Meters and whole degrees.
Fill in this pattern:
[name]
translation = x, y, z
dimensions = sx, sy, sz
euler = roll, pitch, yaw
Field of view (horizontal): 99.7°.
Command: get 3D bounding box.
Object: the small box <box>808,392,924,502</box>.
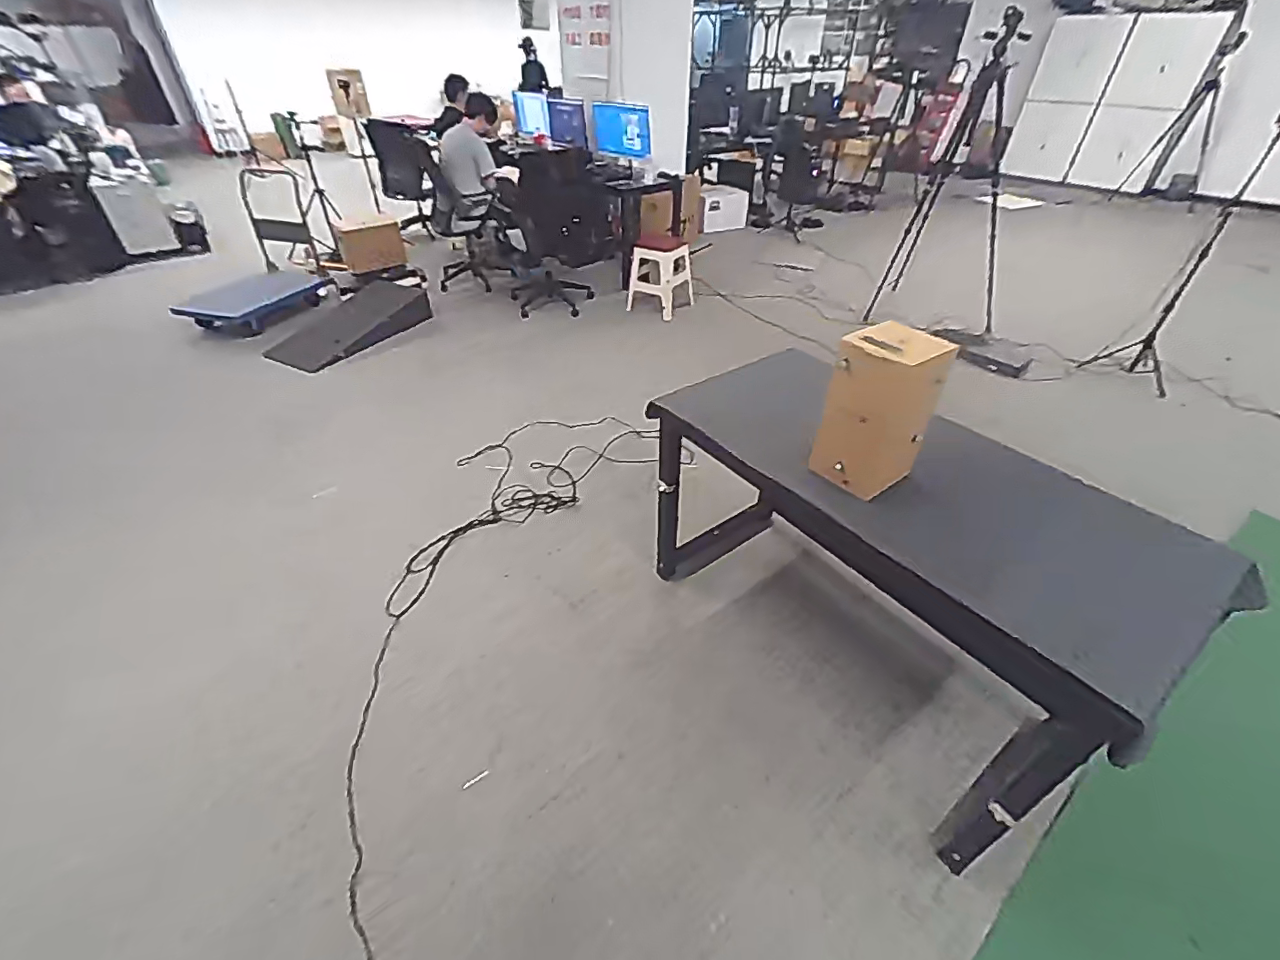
[small box]
translation = 0.517, -0.078, 1.260
dimensions = 0.179, 0.176, 0.168
euler = -26, 45, -30
